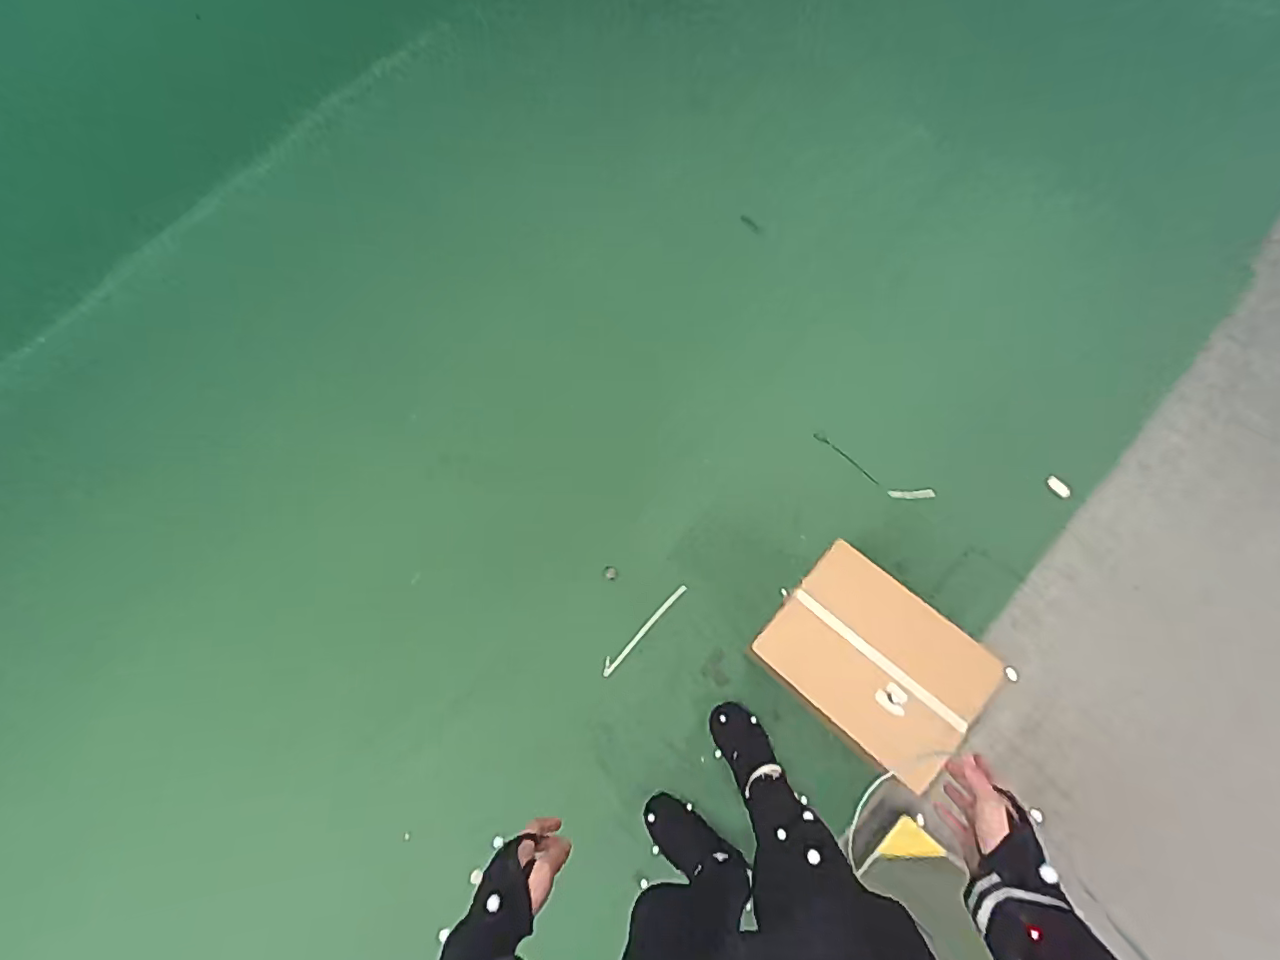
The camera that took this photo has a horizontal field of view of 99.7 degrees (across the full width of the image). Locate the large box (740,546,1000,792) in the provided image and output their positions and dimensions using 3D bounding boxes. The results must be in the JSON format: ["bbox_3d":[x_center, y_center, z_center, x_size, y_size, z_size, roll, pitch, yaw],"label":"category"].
[{"bbox_3d":[0.491,0.415,1.251,0.408,0.320,0.320,39,81,16],"label":"large box"}]
